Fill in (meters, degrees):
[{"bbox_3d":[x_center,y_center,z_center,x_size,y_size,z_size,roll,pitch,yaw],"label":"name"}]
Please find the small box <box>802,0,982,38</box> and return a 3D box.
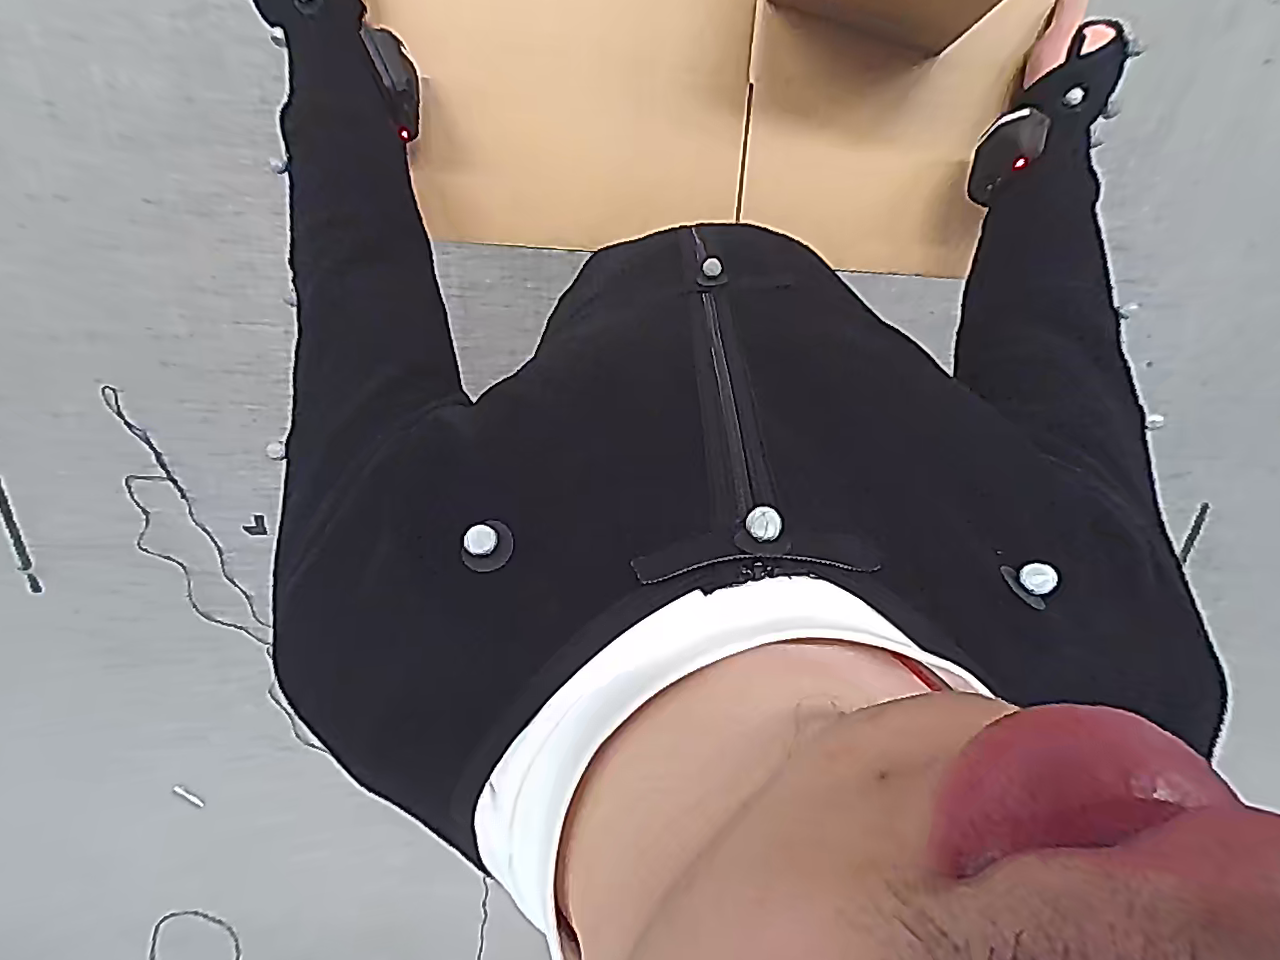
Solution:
[{"bbox_3d":[0.218,-0.475,0.400,0.179,0.176,0.168,13,107,-3],"label":"small box"}]
